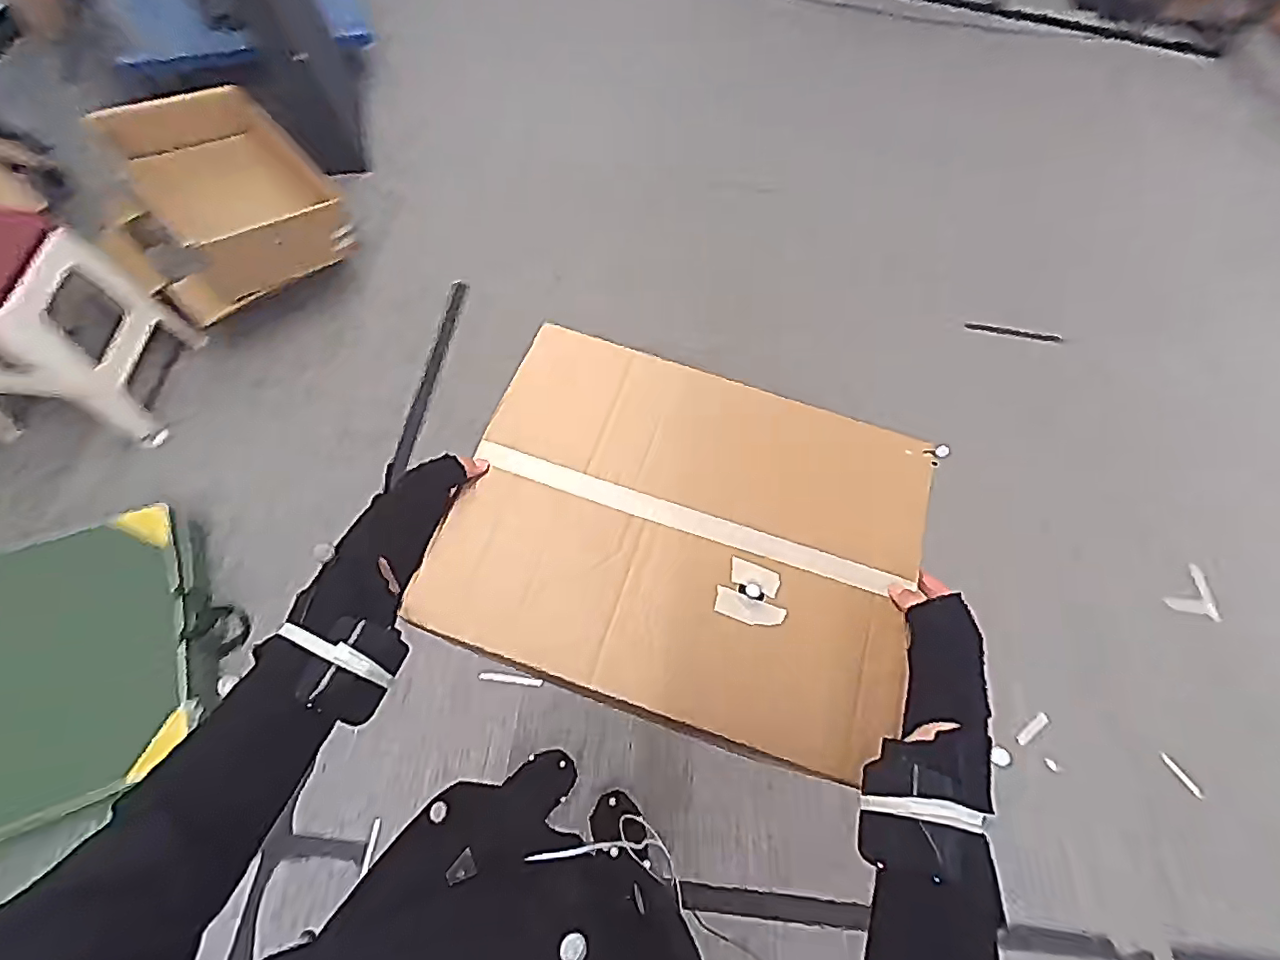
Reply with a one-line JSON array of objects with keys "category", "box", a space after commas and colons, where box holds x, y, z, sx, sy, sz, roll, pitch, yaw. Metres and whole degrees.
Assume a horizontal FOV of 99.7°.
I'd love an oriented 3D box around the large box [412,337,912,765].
[{"category": "large box", "box": [0.029, 0.095, 0.627, 0.408, 0.320, 0.320, 17, 68, 3]}]
